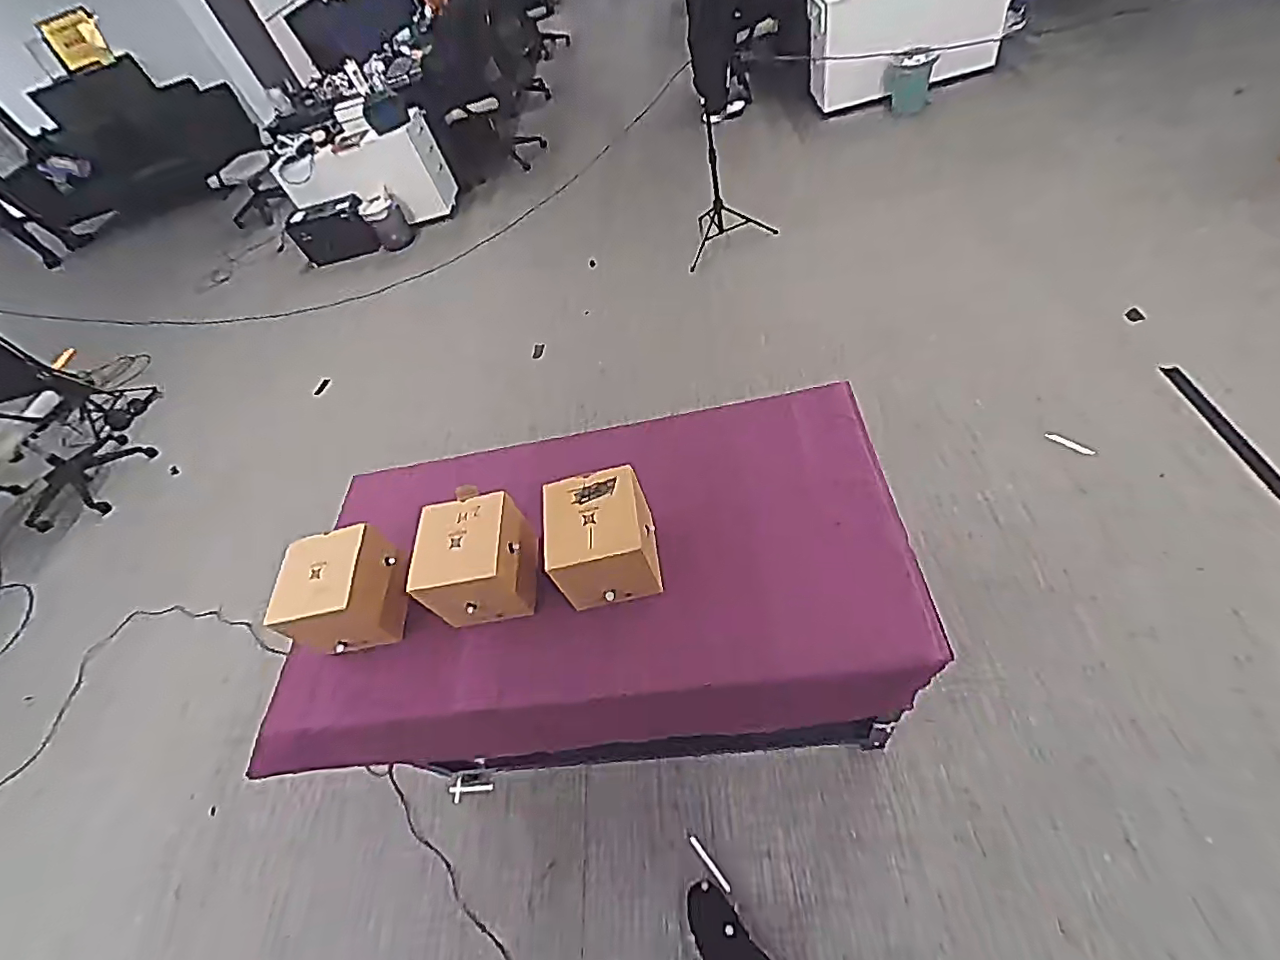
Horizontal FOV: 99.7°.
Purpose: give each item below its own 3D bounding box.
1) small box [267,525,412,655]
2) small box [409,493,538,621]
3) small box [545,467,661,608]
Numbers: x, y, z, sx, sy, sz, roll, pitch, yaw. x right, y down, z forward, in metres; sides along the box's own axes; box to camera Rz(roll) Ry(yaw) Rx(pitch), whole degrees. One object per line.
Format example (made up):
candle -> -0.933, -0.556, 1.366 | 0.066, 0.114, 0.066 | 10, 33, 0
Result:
small box -> -0.566, 0.217, 1.051 | 0.168, 0.176, 0.179 | -13, 51, 8
small box -> -0.300, 0.153, 1.018 | 0.168, 0.176, 0.179 | -11, 52, 9
small box -> -0.065, 0.108, 0.983 | 0.168, 0.176, 0.179 | -14, 52, 7
